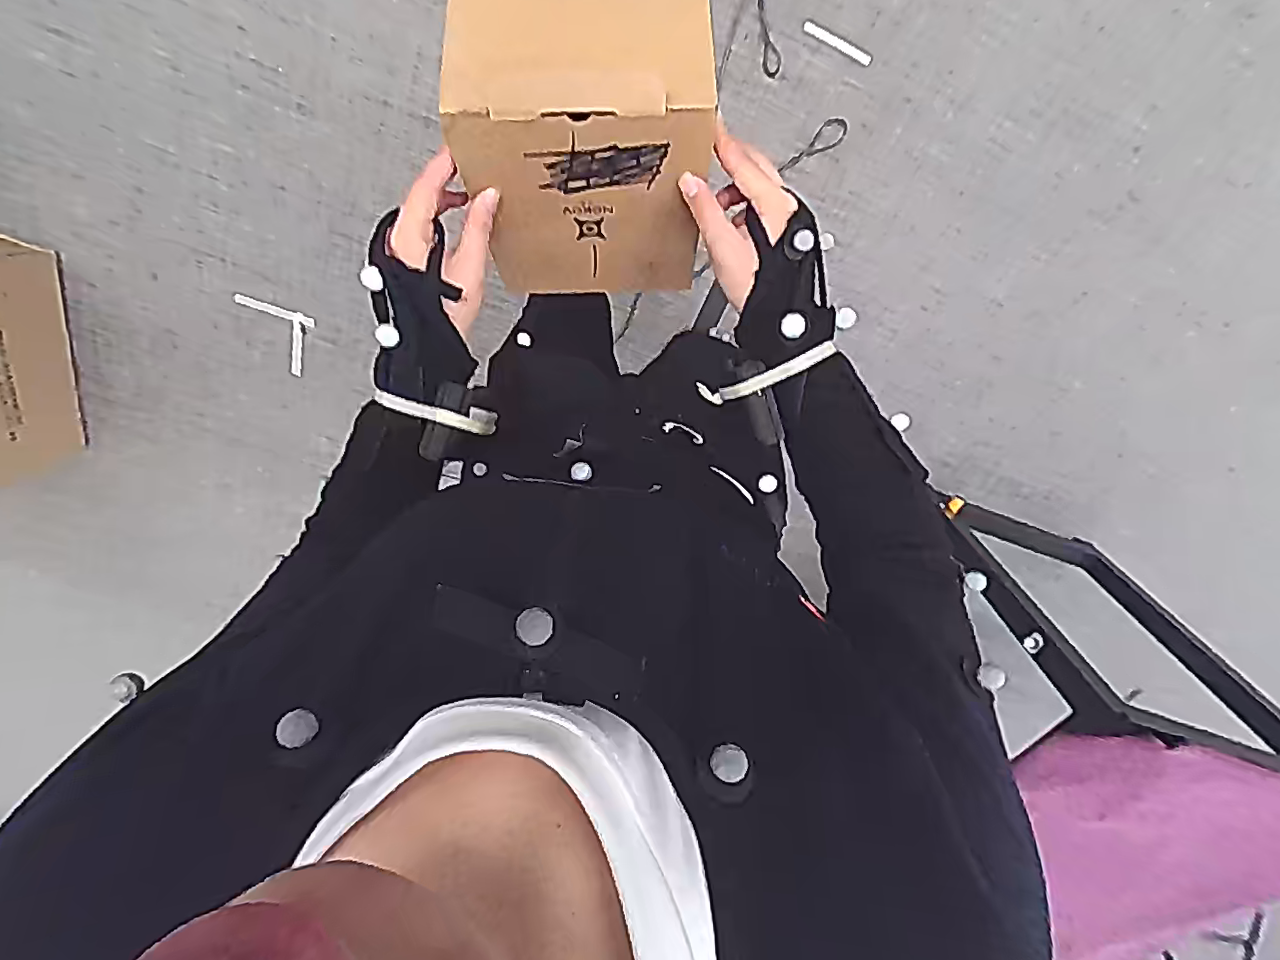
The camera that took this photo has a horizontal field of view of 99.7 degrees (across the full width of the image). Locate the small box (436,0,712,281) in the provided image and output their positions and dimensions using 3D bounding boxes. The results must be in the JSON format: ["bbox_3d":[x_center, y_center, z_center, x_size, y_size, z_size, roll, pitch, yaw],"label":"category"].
[{"bbox_3d":[-0.044,-0.278,0.415,0.168,0.176,0.179,-1,165,-2],"label":"small box"}]
